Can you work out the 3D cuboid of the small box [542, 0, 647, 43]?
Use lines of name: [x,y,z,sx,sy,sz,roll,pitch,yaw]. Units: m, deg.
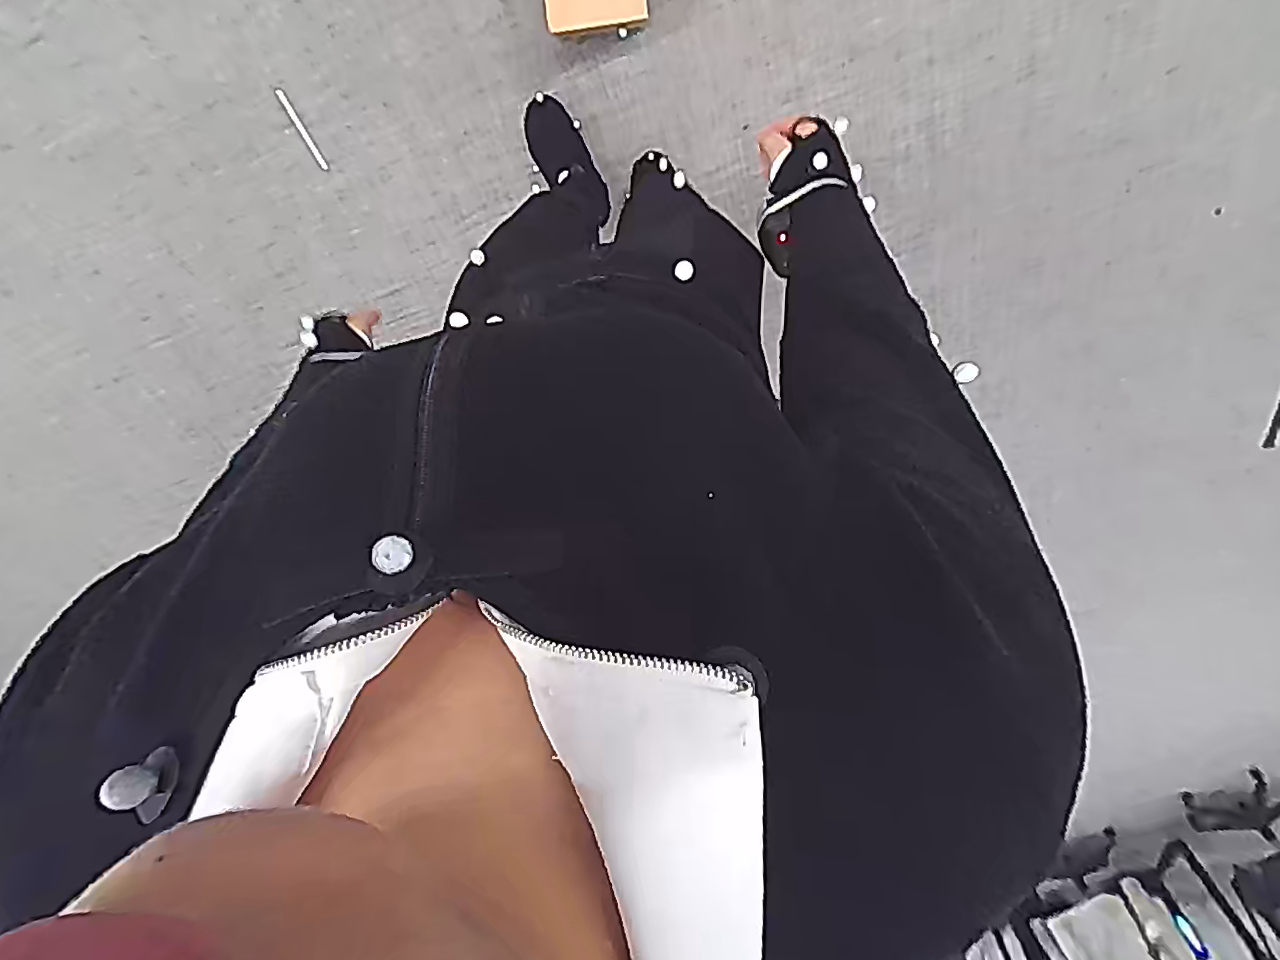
small box: [-0.087,-0.894,0.960,0.179,0.176,0.168,-6,126,2]
